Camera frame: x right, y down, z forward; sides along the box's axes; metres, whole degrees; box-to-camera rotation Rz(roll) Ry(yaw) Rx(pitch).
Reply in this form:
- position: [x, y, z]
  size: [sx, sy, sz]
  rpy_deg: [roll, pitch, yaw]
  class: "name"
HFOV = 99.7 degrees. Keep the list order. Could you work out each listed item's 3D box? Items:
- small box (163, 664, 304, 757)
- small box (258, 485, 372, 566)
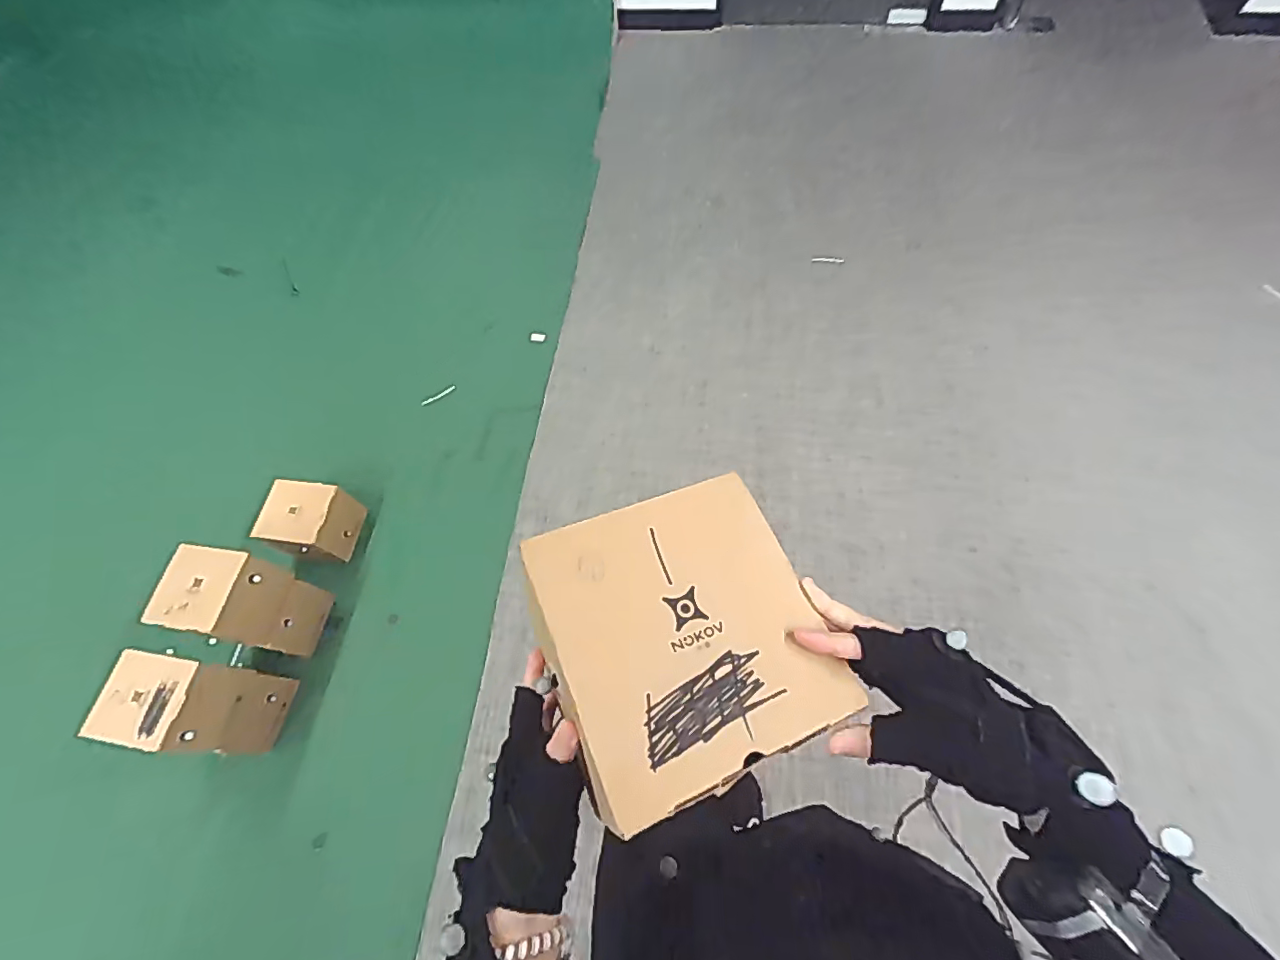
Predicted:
- position: [-0.951, 0.547, 1.287]
  size: [0.179, 0.176, 0.168]
  rpy_deg: [9, 66, 8]
  class: "small box"
- position: [-0.879, 0.129, 1.480]
  size: [0.179, 0.176, 0.168]
  rpy_deg: [5, 65, 5]
  class: "small box"
